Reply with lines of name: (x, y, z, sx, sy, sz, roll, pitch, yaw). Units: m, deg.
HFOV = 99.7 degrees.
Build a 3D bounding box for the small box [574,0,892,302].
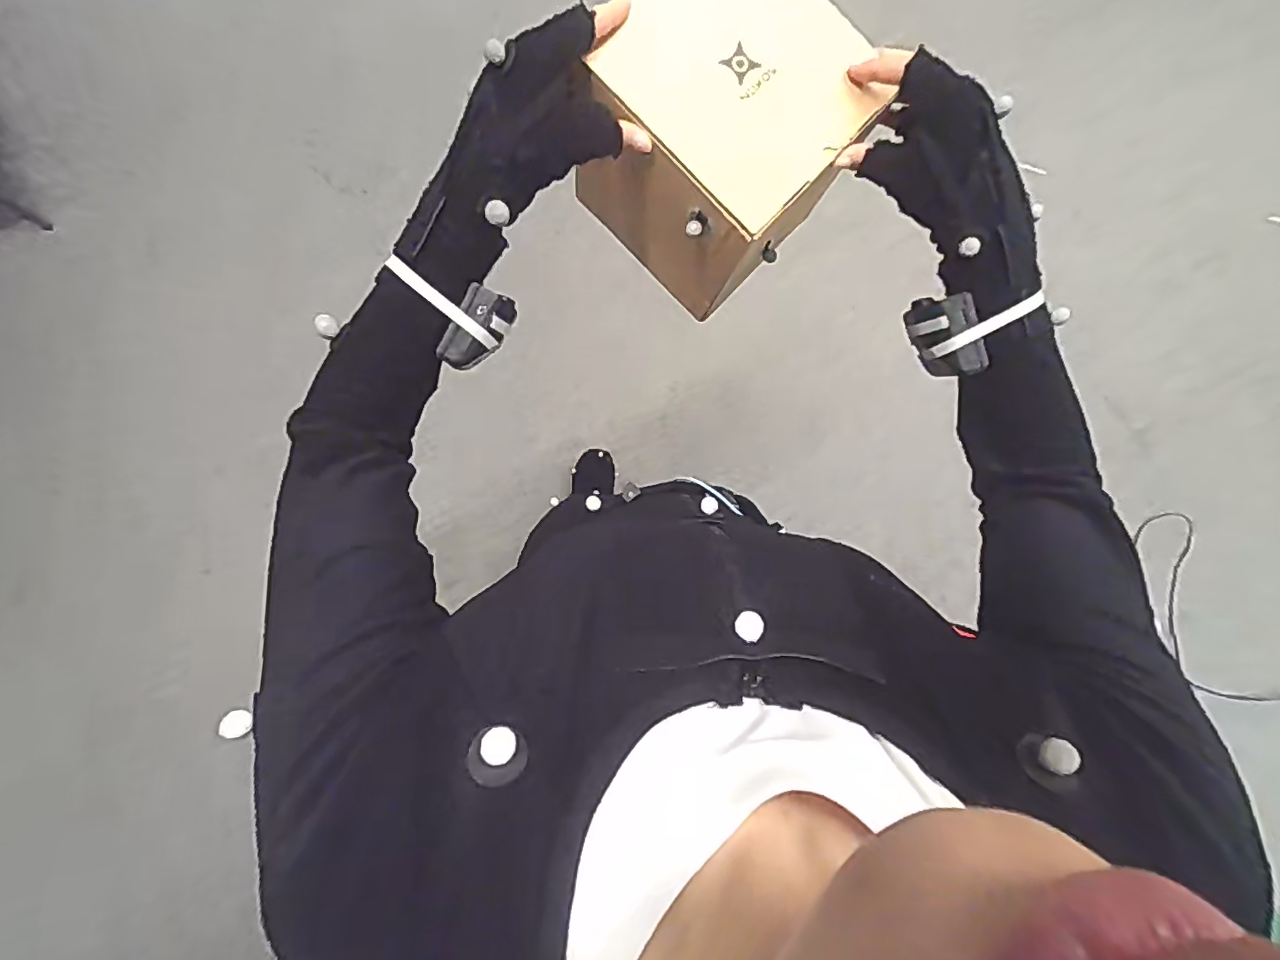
small box: (0.059, -0.287, 0.459, 0.179, 0.176, 0.168, 45, 83, -4)
